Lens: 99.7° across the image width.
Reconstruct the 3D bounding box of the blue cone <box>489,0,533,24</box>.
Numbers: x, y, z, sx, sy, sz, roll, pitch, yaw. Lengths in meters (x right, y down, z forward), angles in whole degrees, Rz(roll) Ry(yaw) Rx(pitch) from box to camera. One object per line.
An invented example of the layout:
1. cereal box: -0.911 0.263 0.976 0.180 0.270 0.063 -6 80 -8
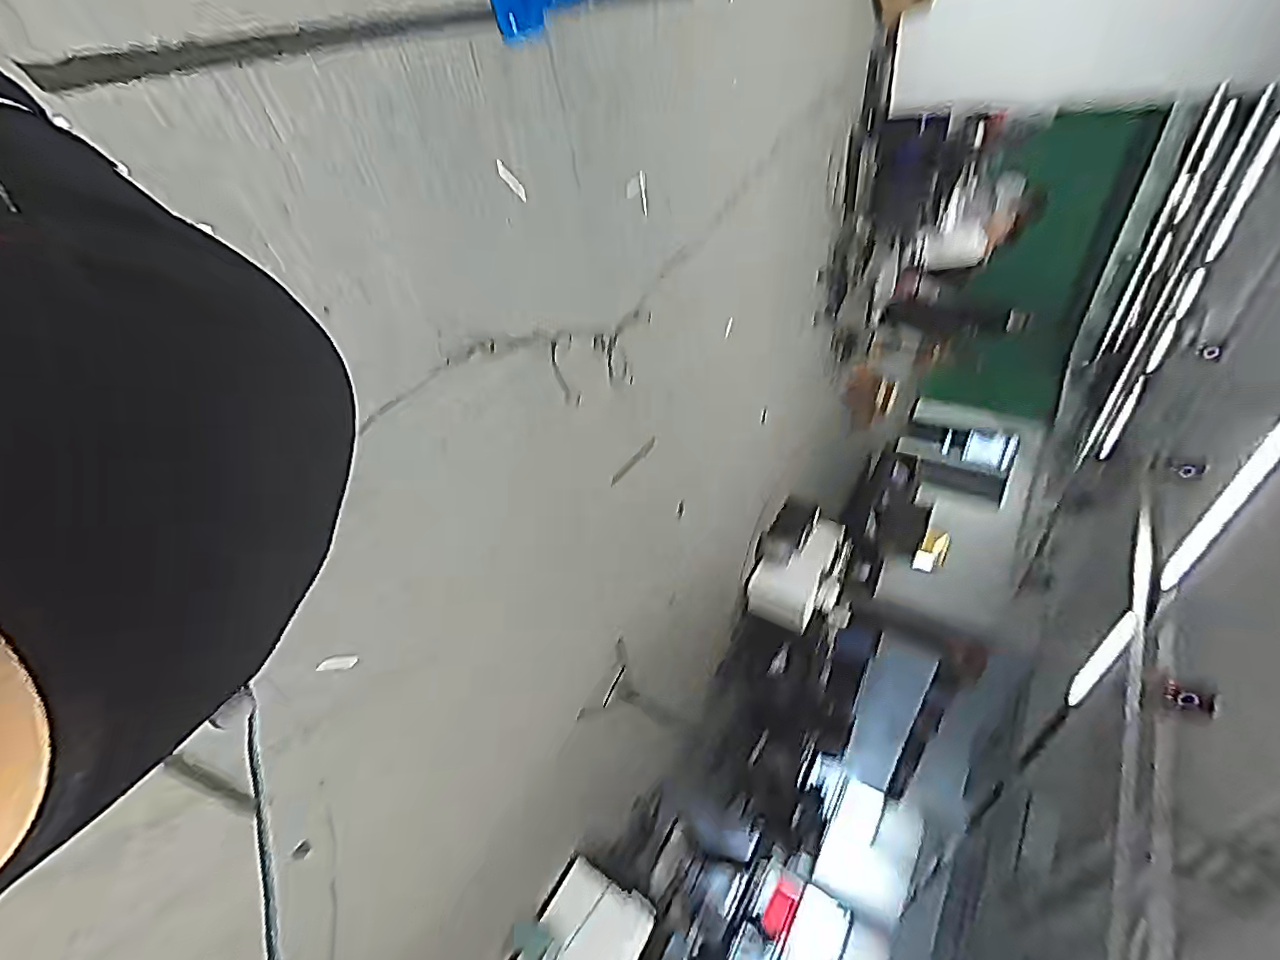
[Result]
1. blue cone: -0.257 -1.411 1.484 0.193 0.380 0.192 -51 144 -32
